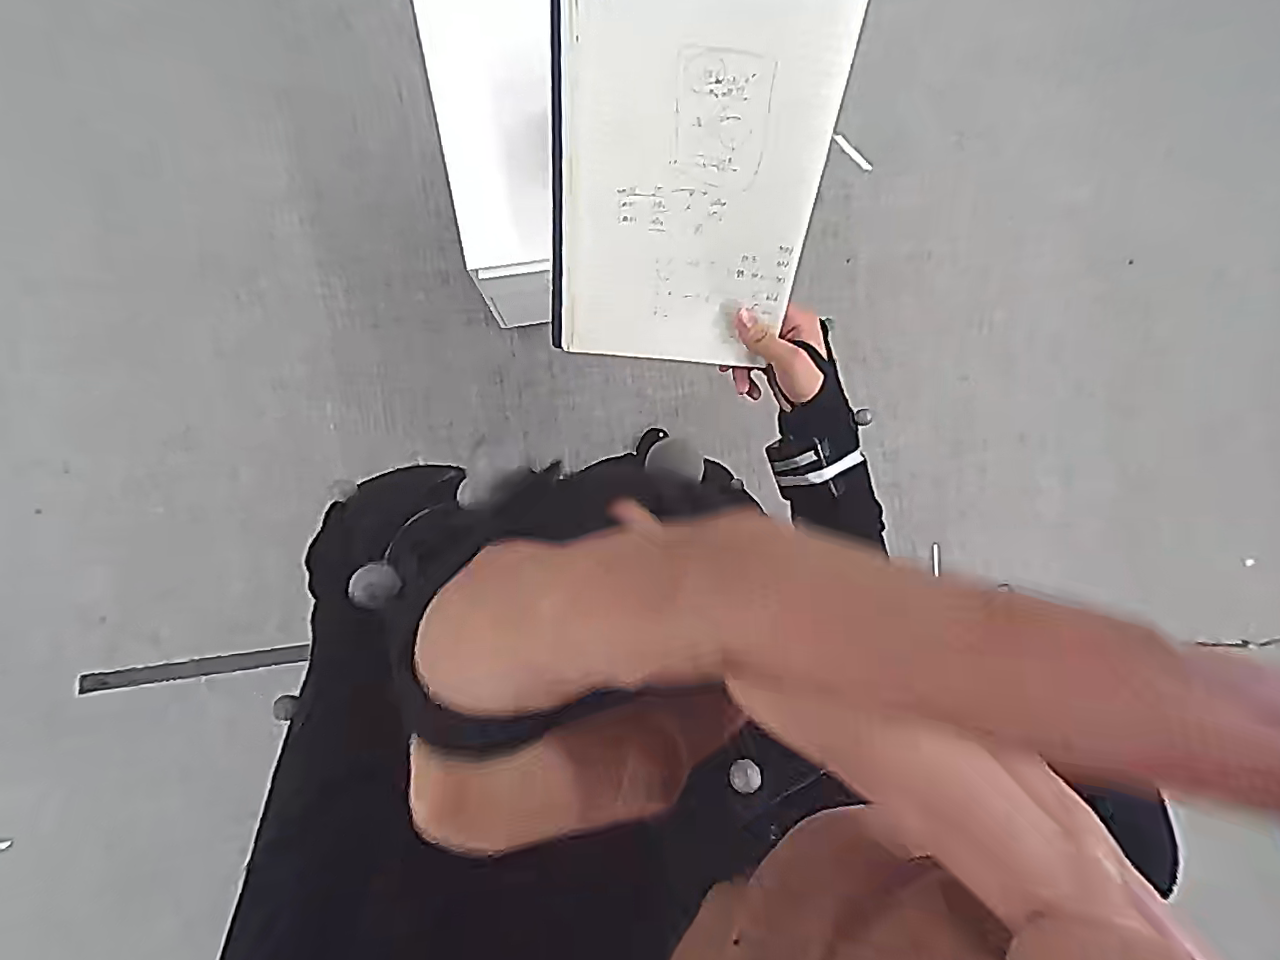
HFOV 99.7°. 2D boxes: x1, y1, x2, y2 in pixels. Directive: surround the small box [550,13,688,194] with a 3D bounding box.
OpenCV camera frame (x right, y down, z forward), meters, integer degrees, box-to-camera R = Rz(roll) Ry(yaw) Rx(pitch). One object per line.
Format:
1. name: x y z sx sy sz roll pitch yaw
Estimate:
1. small box: -0.040 -0.607 0.893 0.179 0.176 0.168 -19 97 -5
